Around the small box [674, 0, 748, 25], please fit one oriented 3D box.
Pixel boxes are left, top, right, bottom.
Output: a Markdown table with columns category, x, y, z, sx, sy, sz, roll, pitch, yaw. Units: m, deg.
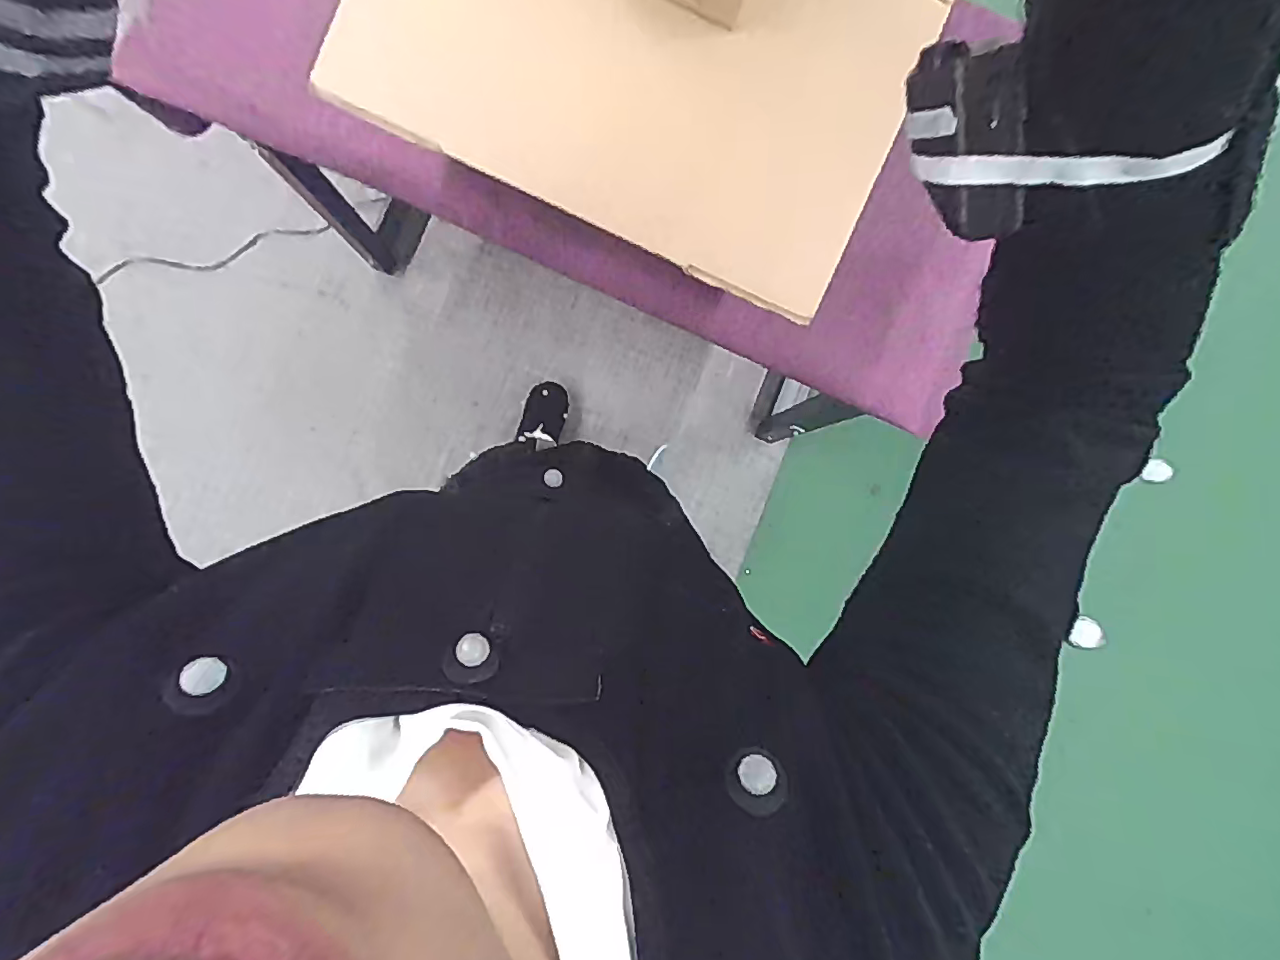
| category | x | y | z | sx | sy | sz | roll | pitch | yaw |
| --- | --- | --- | --- | --- | --- | --- | --- | --- | --- |
| small box | 0.071 | -0.611 | 0.519 | 0.168 | 0.176 | 0.179 | 24 | 85 | -3 |
